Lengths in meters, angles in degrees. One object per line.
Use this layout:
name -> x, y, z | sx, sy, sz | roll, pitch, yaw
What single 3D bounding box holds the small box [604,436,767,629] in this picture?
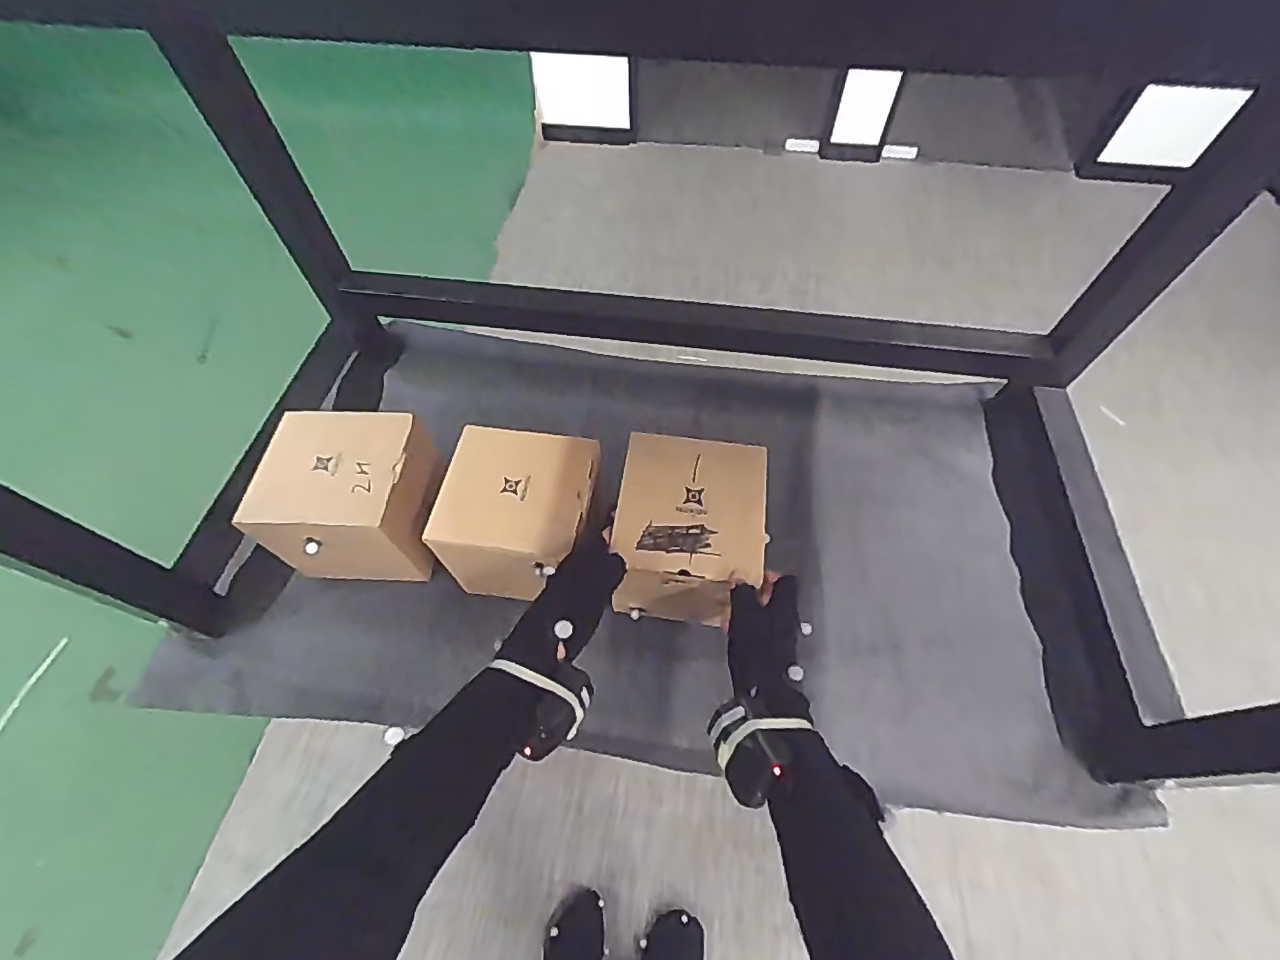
small box -> 0.057, 0.071, 0.668 | 0.168, 0.176, 0.179 | 8, 60, 5
